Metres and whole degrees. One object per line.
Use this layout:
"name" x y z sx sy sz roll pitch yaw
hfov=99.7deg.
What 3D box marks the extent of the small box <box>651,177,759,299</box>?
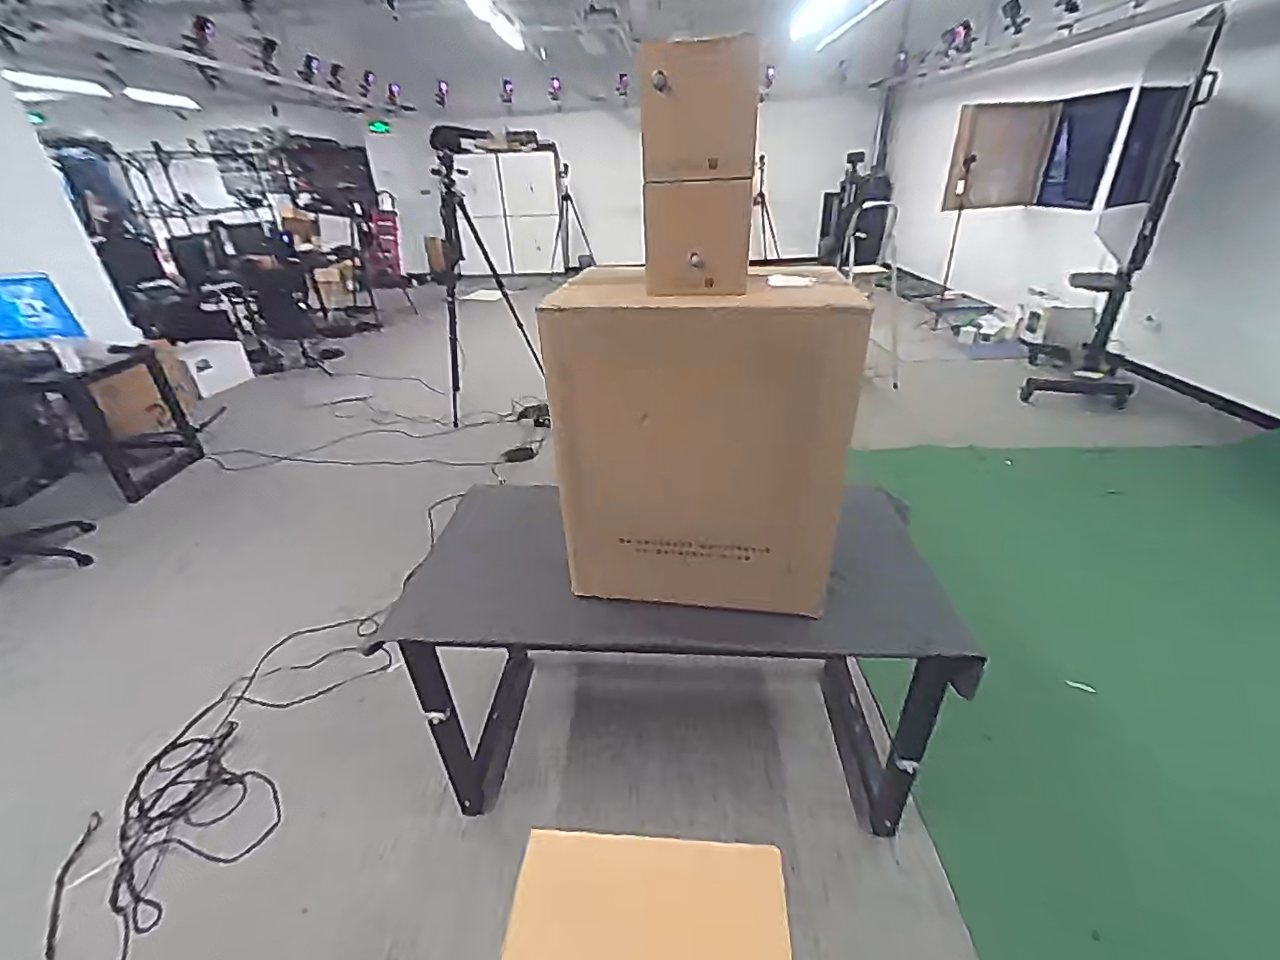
"small box" 0.111 -0.418 0.925 0.168 0.176 0.179 3 32 8
